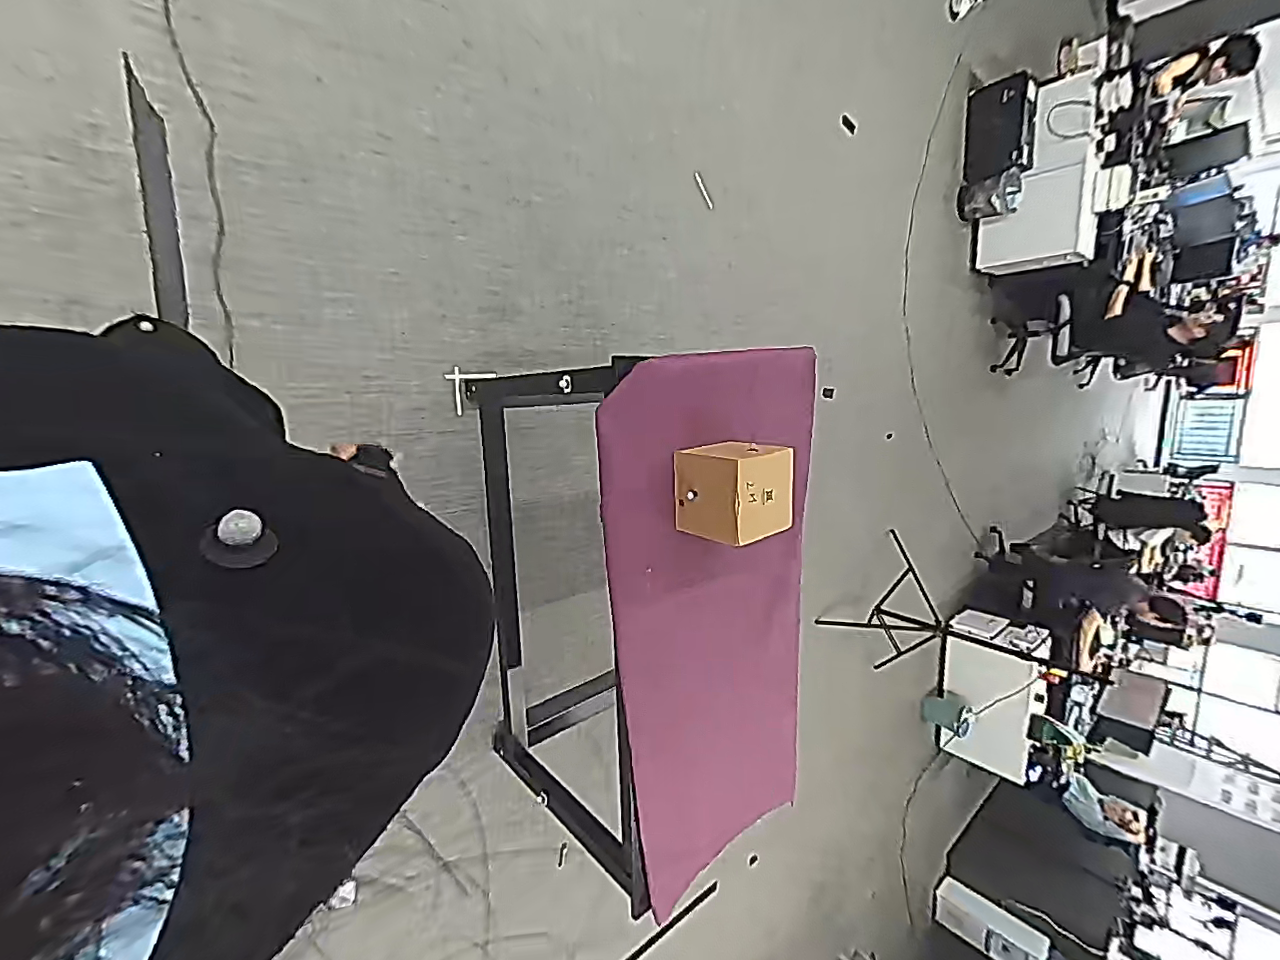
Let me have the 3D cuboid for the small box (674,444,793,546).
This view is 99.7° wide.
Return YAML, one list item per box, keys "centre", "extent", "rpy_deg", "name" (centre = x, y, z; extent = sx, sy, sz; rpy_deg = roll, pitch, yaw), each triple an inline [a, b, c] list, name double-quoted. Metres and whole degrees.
- centre: [0.189, 0.020, 1.103]
  extent: [0.179, 0.176, 0.168]
  rpy_deg: [-12, 105, -39]
  name: "small box"
